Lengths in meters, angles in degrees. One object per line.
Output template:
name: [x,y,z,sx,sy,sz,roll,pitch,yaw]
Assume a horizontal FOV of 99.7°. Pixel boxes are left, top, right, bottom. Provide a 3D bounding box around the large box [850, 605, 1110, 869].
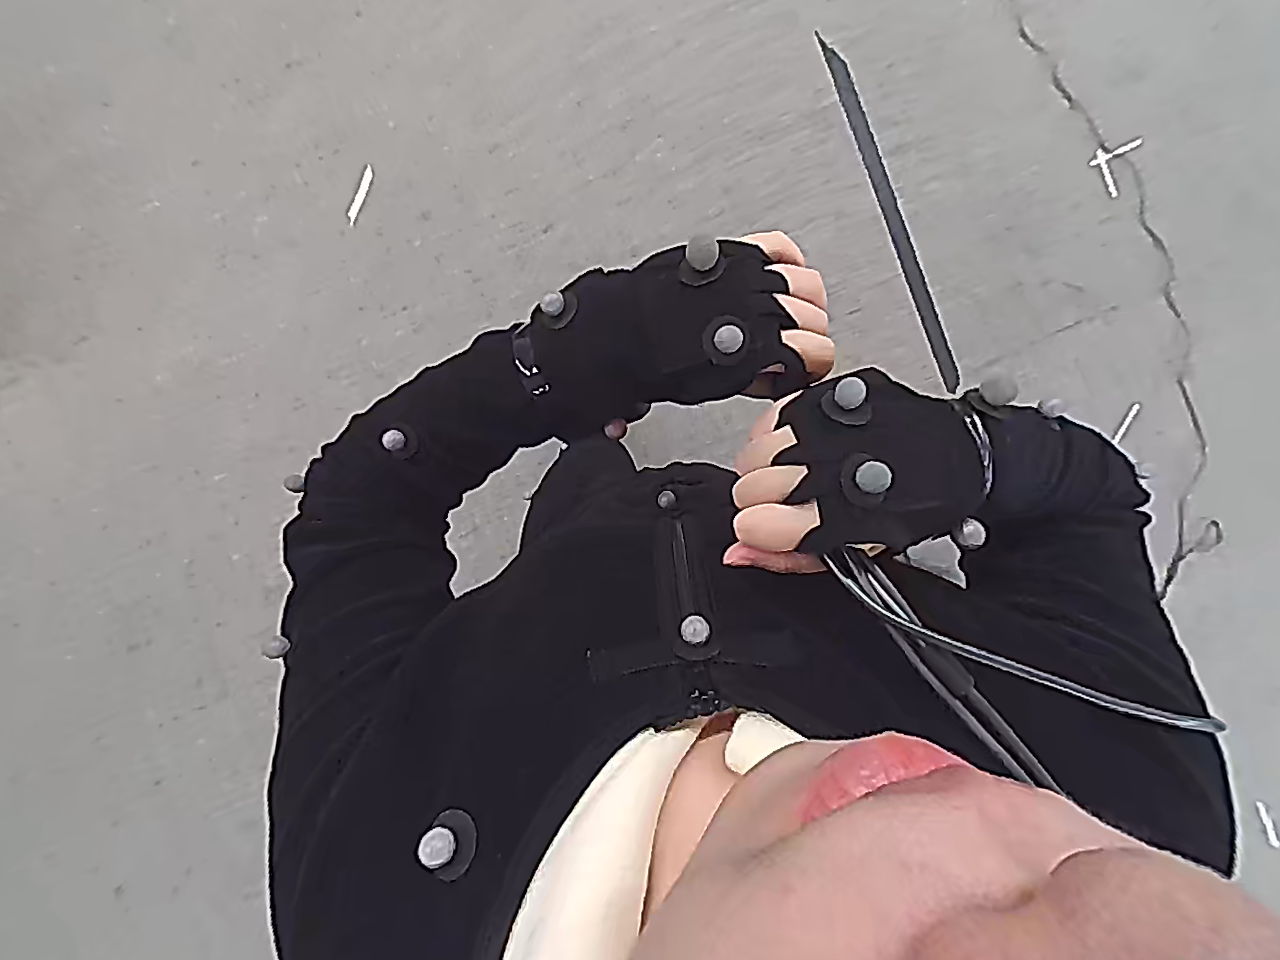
large box: [0.726,0.542,1.213,0.320,0.320,0.408,16,93,-2]
